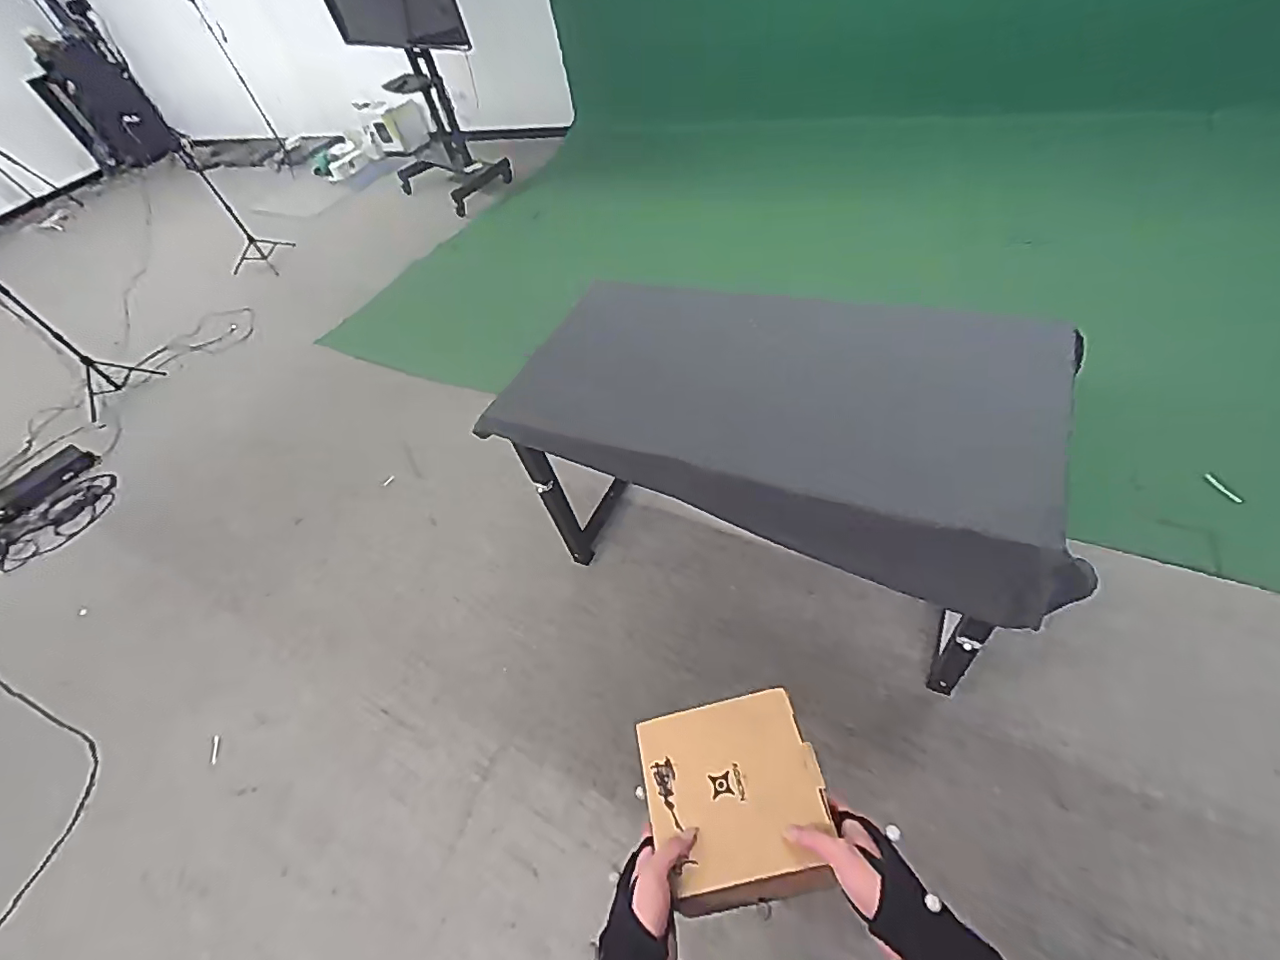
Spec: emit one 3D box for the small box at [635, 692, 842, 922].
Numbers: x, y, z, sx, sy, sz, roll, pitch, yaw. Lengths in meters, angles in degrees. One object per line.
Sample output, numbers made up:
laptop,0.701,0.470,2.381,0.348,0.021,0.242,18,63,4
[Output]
small box,0.103,0.364,0.600,0.179,0.176,0.168,-14,43,2
